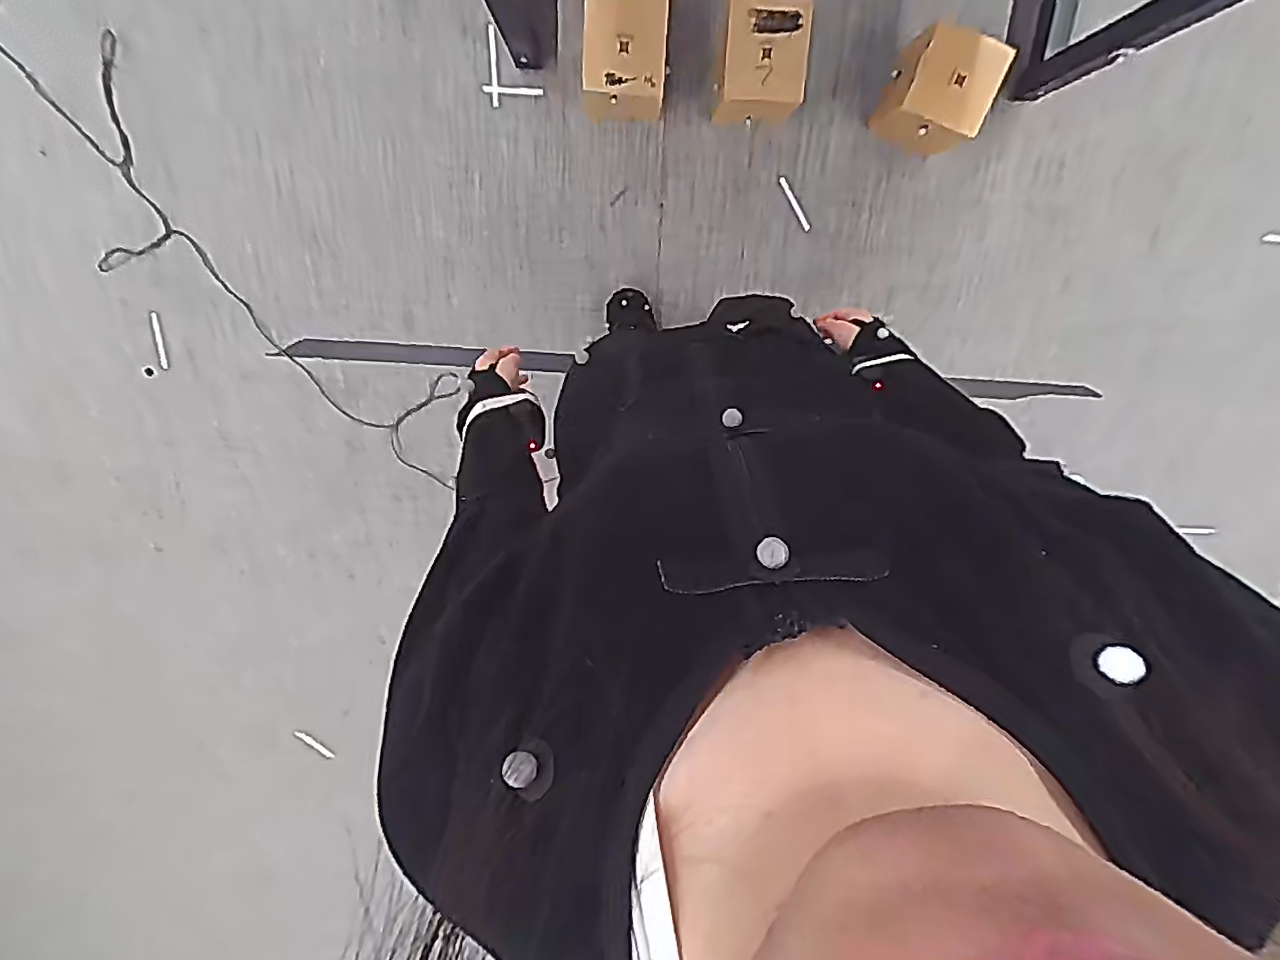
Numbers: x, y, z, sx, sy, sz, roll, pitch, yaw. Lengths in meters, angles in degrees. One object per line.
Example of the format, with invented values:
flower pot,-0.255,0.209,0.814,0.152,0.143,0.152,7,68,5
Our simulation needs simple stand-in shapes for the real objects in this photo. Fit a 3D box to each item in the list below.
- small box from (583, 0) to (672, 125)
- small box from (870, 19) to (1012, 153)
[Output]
small box,-0.030,-0.883,1.139,0.168,0.176,0.179,4,107,-3
small box,0.641,-0.838,1.174,0.179,0.176,0.168,19,108,-7
